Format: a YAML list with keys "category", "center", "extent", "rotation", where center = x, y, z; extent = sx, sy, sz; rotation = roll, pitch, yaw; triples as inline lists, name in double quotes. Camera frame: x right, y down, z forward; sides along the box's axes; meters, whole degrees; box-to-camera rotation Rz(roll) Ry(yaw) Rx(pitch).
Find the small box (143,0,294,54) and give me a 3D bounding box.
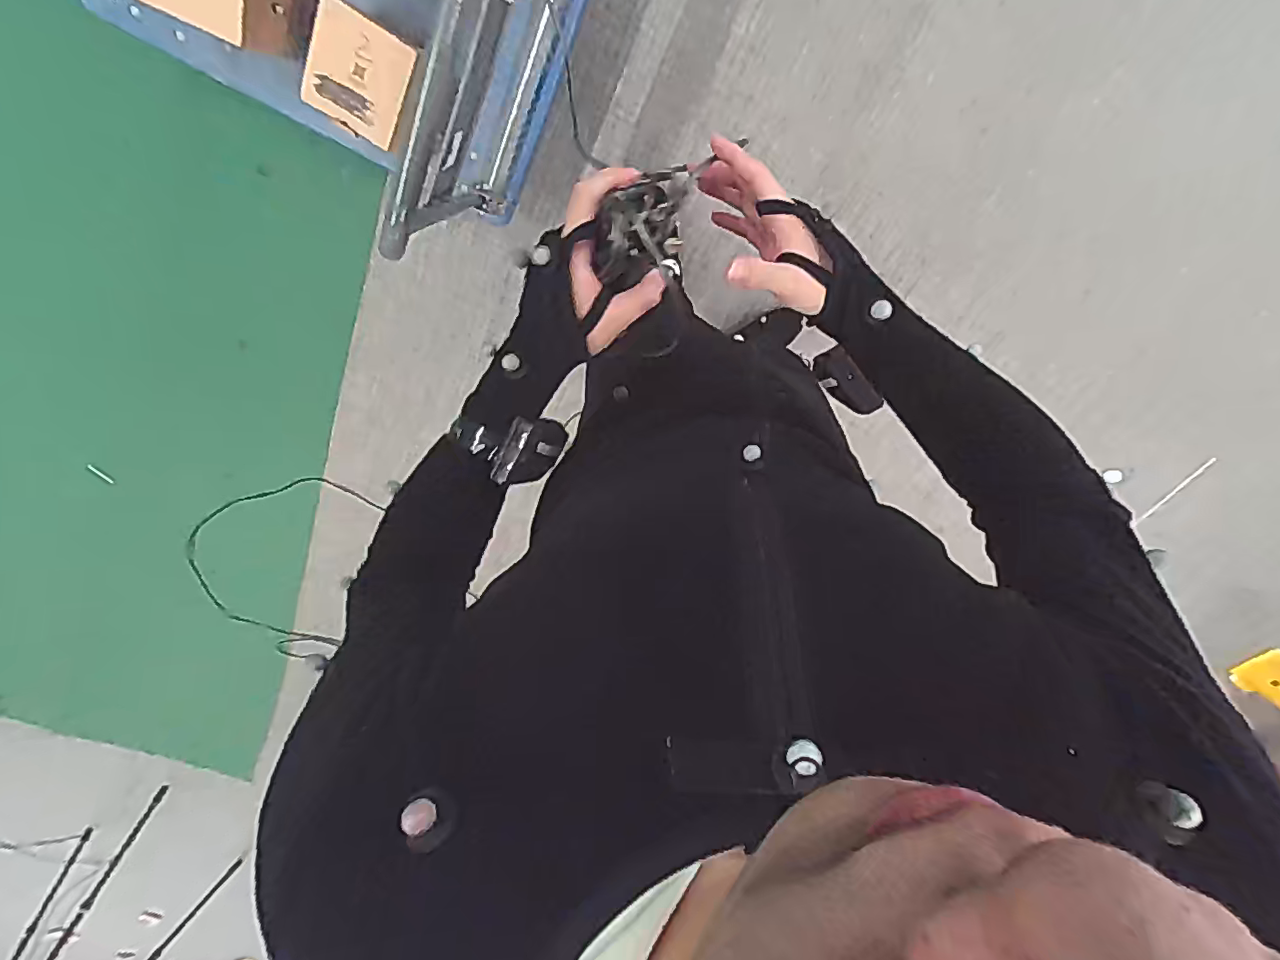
- category: "small box"
  center: [-0.732, -0.881, 0.942]
  extent: [0.179, 0.176, 0.168]
  rotation: [21, 119, -11]
